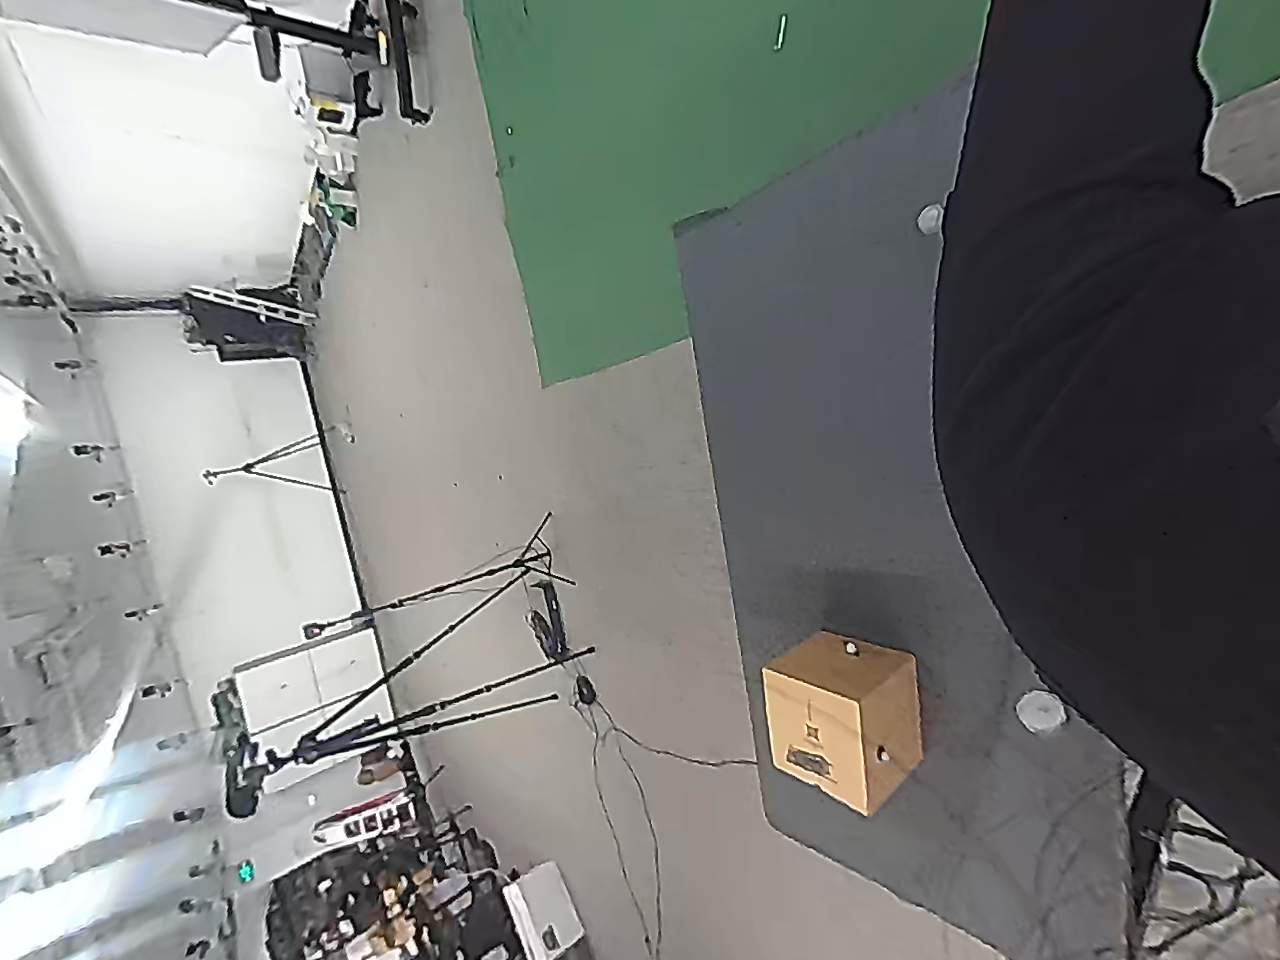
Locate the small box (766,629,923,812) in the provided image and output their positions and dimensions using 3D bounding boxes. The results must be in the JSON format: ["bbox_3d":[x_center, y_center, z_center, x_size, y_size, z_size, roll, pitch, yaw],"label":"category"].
[{"bbox_3d":[0.322,0.359,0.845,0.168,0.176,0.179,1,101,51],"label":"small box"}]
